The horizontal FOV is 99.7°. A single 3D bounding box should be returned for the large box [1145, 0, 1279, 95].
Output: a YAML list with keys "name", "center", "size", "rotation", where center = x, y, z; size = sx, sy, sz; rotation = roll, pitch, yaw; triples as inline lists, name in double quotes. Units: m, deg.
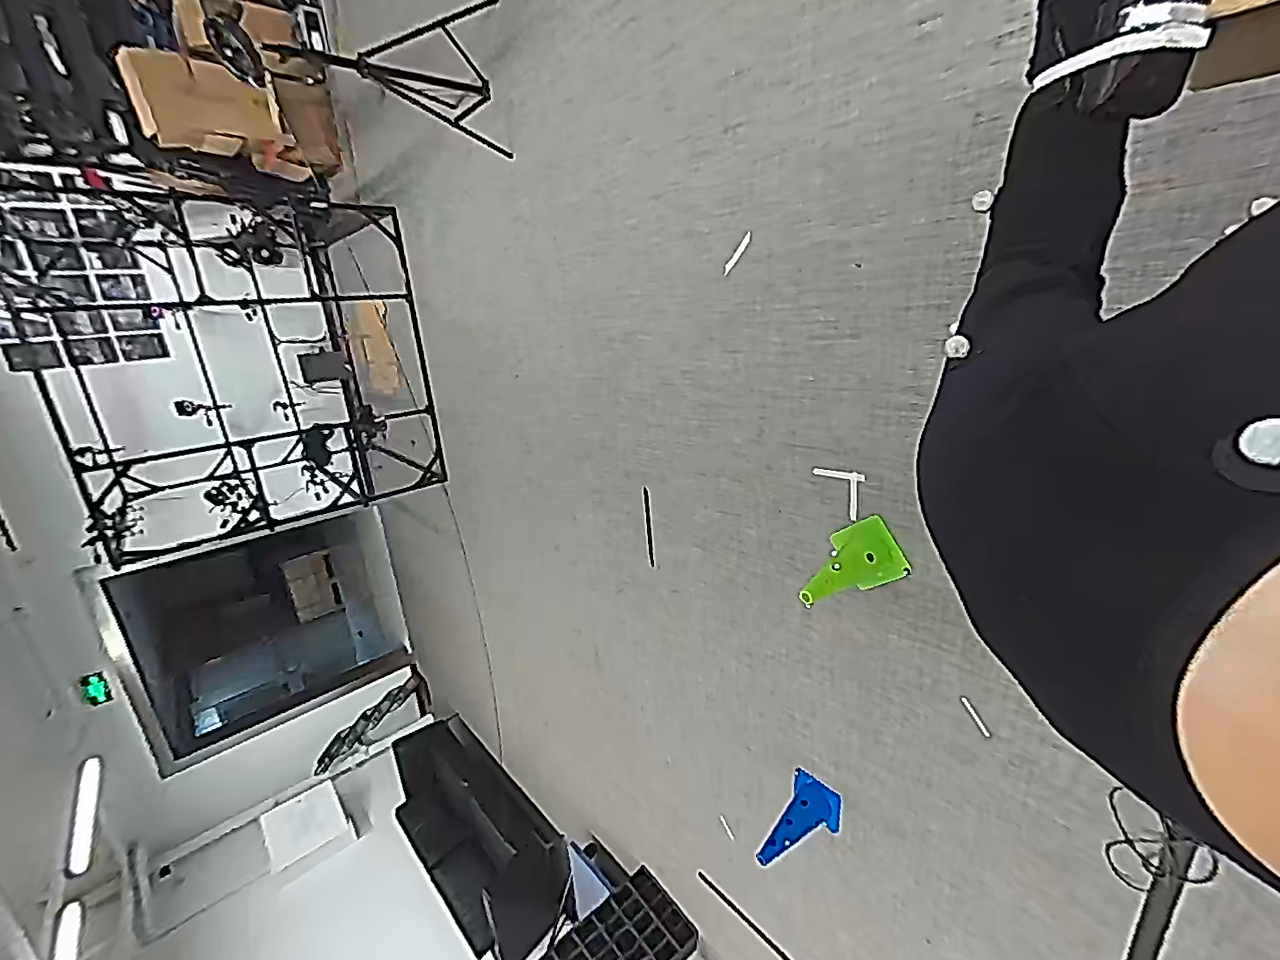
- name: "large box"
  center: [0.560, -0.448, 0.264]
  size: [0.408, 0.320, 0.320]
  rotation: [15, 120, 45]

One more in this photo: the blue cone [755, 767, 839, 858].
- name: "blue cone"
  center: [0.575, 1.297, 2.044]
  size: [0.192, 0.380, 0.193]
  rotation: [21, 120, 46]

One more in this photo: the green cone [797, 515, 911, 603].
- name: "green cone"
  center: [0.582, 0.266, 1.577]
  size: [0.202, 0.368, 0.200]
  rotation: [-43, 70, 51]
